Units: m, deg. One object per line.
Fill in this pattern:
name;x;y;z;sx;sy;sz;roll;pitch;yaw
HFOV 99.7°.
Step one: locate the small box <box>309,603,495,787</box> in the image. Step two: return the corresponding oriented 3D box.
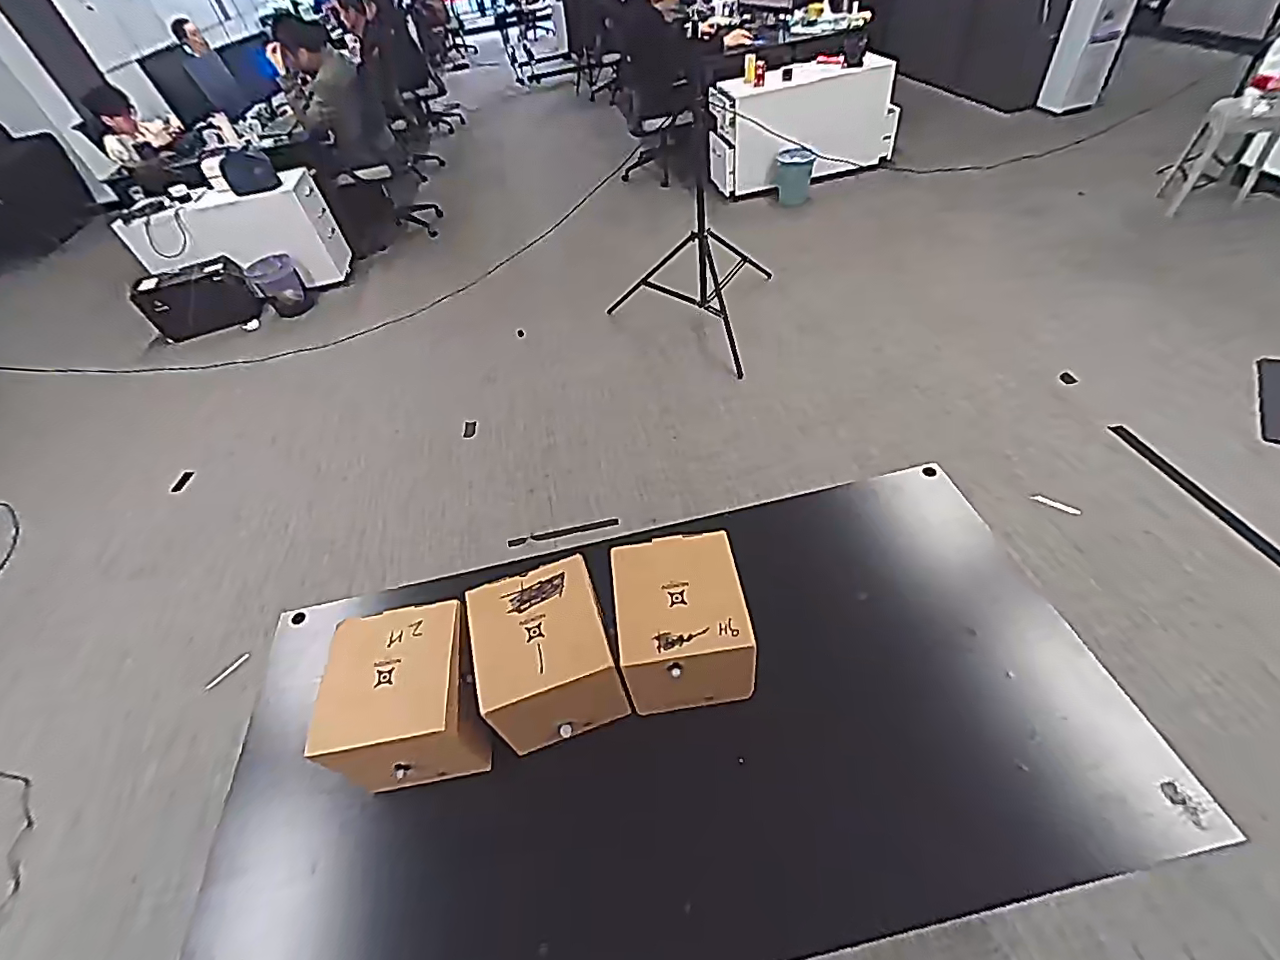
small box;-0.304;0.298;0.736;0.168;0.176;0.179;-11;46;-1
